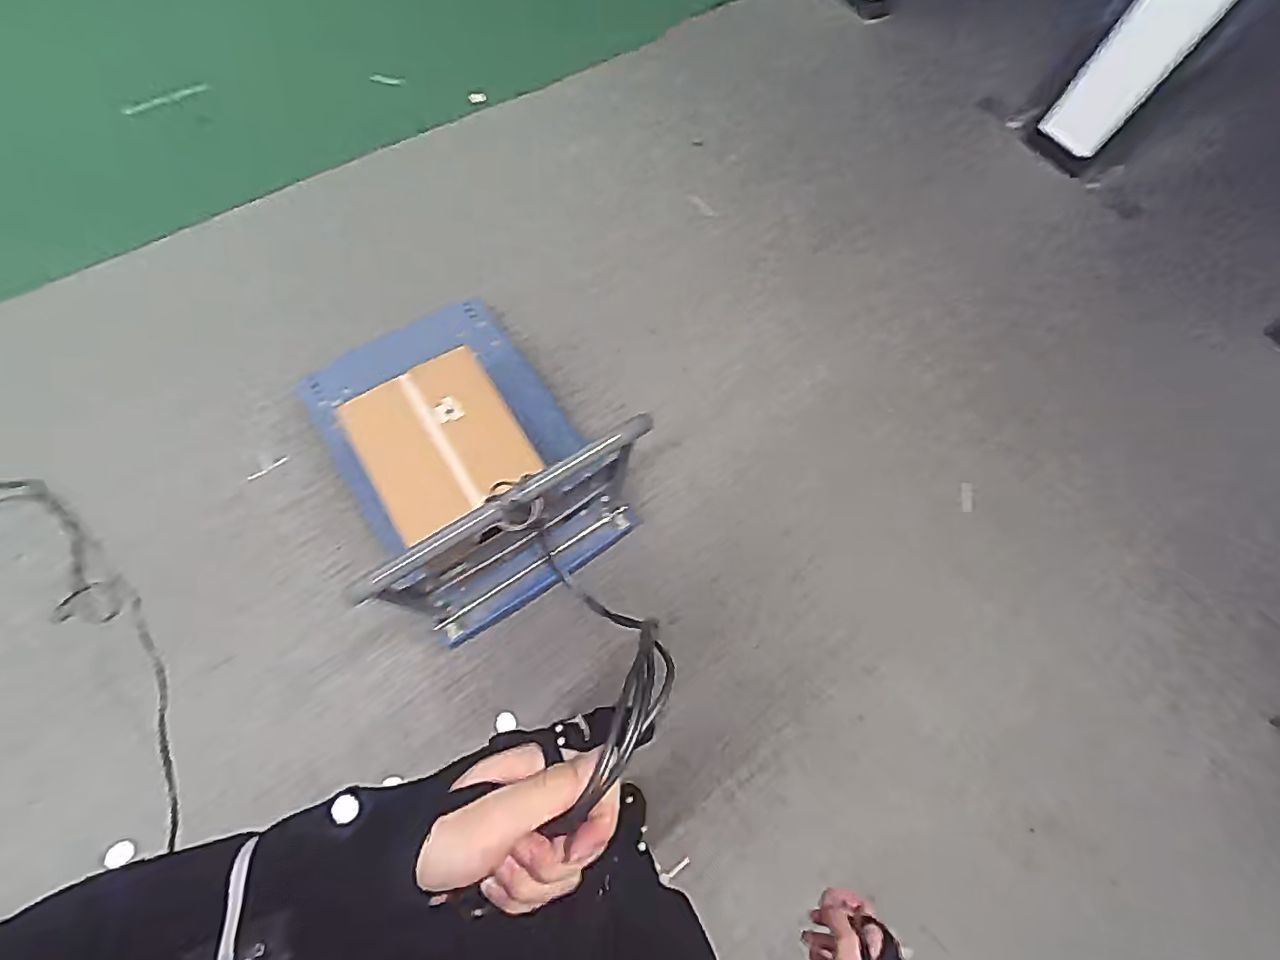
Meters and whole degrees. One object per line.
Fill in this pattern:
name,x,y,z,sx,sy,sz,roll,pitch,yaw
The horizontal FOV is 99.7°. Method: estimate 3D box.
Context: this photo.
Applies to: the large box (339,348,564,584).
large box,-0.420,-0.019,1.284,0.320,0.320,0.408,-30,74,-15
